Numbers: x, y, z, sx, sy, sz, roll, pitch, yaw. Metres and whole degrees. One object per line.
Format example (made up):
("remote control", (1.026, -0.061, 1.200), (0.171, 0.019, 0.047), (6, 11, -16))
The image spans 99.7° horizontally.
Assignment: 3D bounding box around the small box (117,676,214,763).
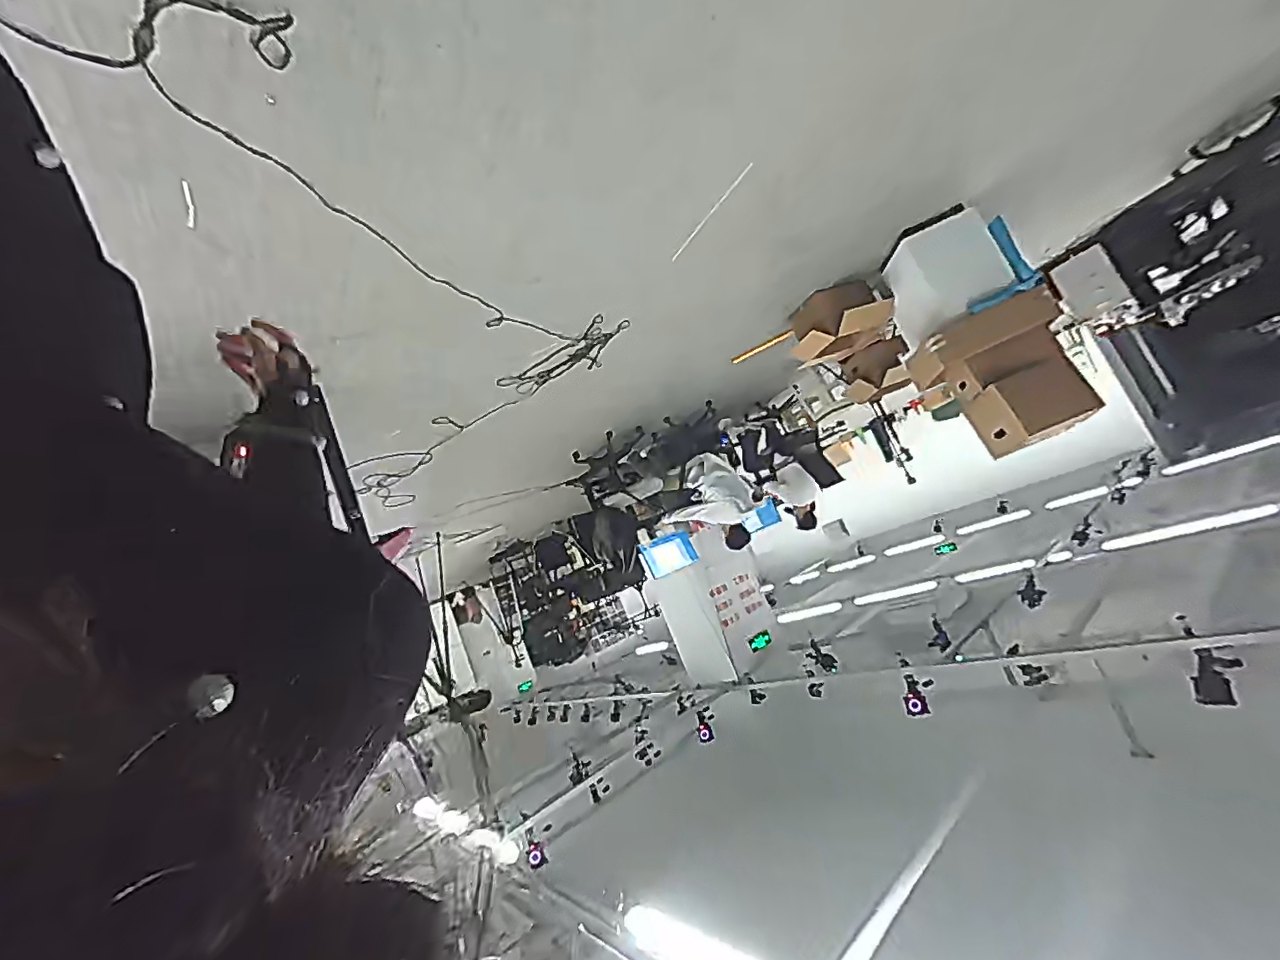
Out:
("small box", (-1.344, 0.673, 1.539), (0.179, 0.176, 0.168), (-15, 170, -41))
